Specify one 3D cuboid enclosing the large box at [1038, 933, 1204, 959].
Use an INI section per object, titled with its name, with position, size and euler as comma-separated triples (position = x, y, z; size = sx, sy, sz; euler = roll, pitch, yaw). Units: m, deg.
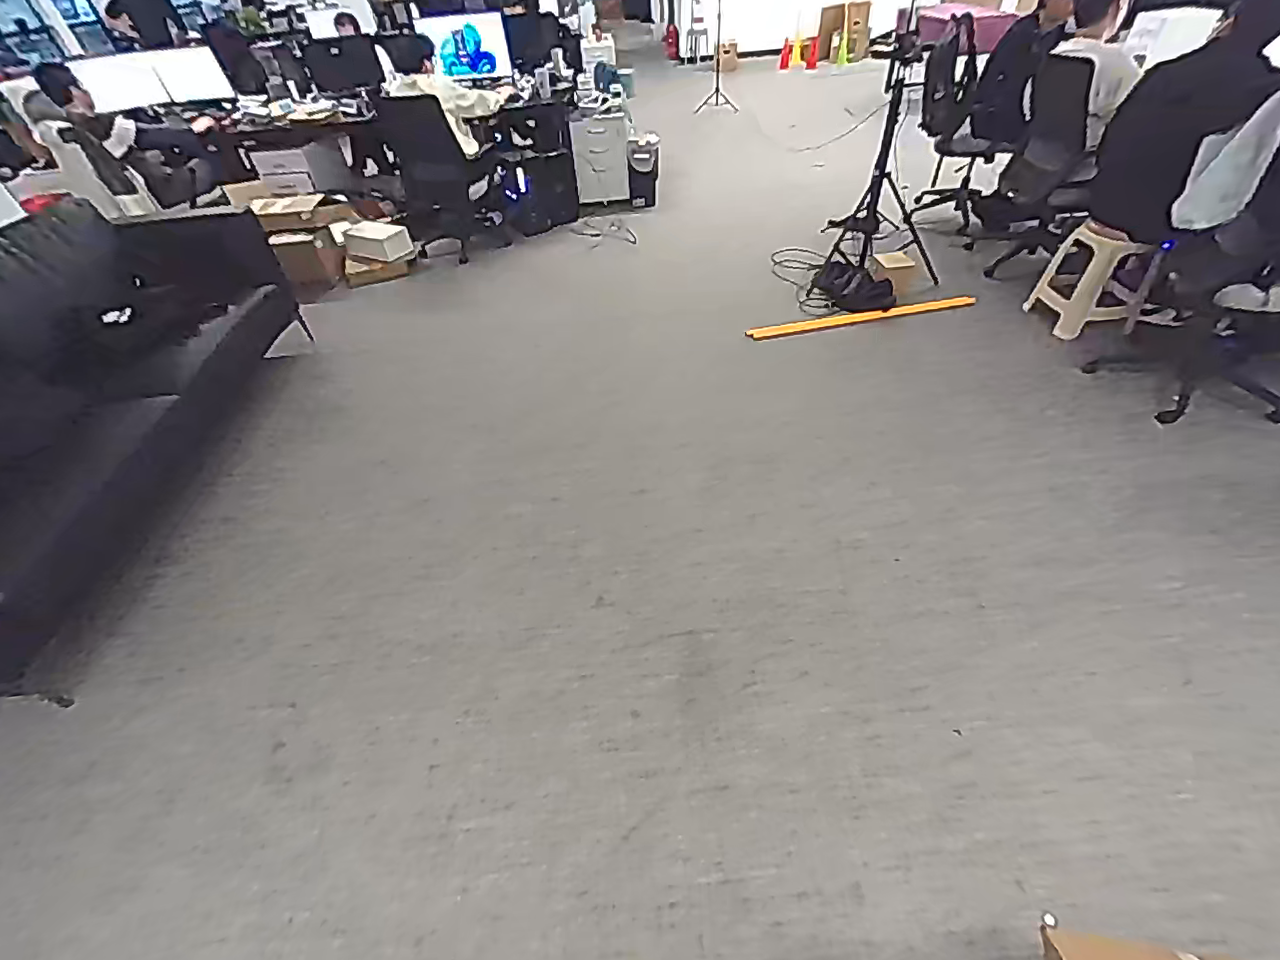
[large box]
position = 0.647, 0.757, 0.512
size = 0.320, 0.408, 0.320
euler = 1, 82, 17
